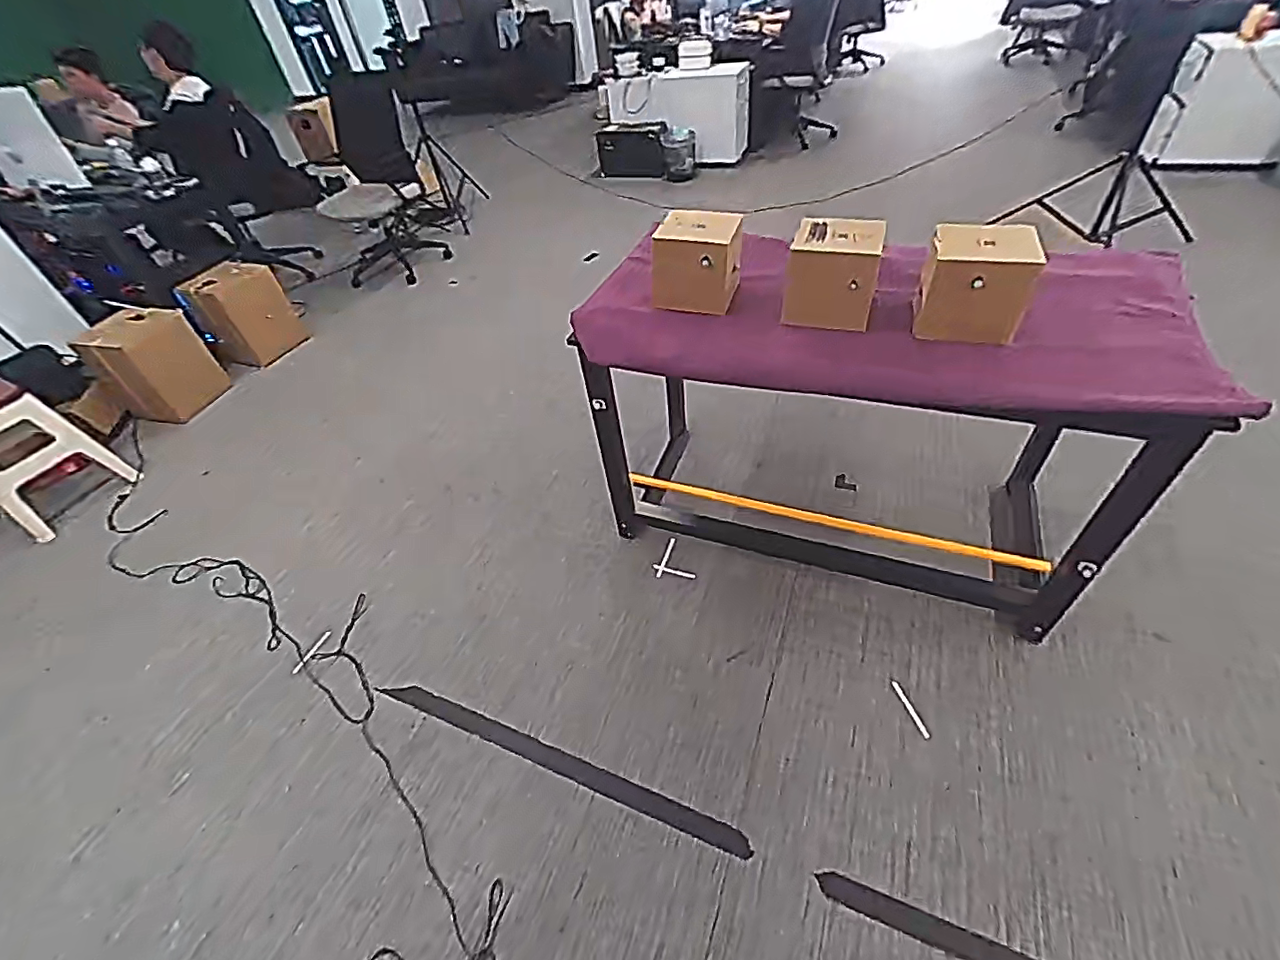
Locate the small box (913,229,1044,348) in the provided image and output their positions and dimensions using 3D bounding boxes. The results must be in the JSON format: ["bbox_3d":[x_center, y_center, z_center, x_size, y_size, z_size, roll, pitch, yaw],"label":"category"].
[{"bbox_3d":[0.661,-0.379,1.076,0.179,0.176,0.168,10,48,18],"label":"small box"}]

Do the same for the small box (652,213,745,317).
[{"bbox_3d":[0.138,-0.501,1.266,0.179,0.176,0.168,12,48,16],"label":"small box"}]
